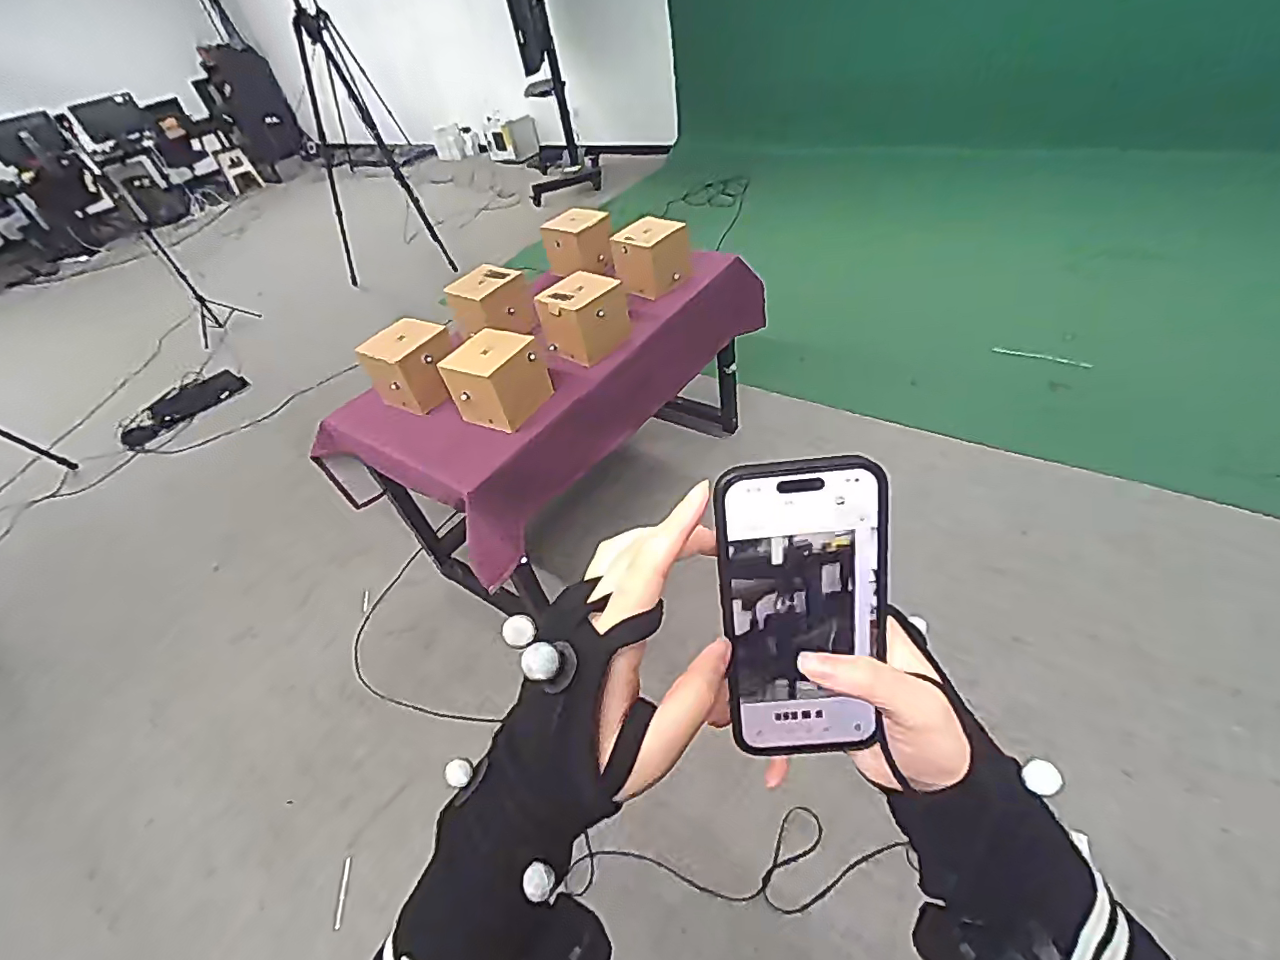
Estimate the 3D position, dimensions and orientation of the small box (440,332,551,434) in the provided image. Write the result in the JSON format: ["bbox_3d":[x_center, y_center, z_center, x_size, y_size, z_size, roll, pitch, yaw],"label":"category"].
[{"bbox_3d":[-0.340,-0.234,1.312,0.168,0.176,0.179,16,50,27],"label":"small box"}]

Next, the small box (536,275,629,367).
[{"bbox_3d":[-0.148,-0.429,1.465,0.168,0.176,0.179,27,56,34],"label":"small box"}]

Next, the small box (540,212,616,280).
[{"bbox_3d":[-0.204,-0.787,1.837,0.179,0.176,0.168,26,56,32],"label":"small box"}]

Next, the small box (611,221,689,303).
[{"bbox_3d":[0.038,-0.675,1.671,0.168,0.176,0.179,28,57,35],"label":"small box"}]
